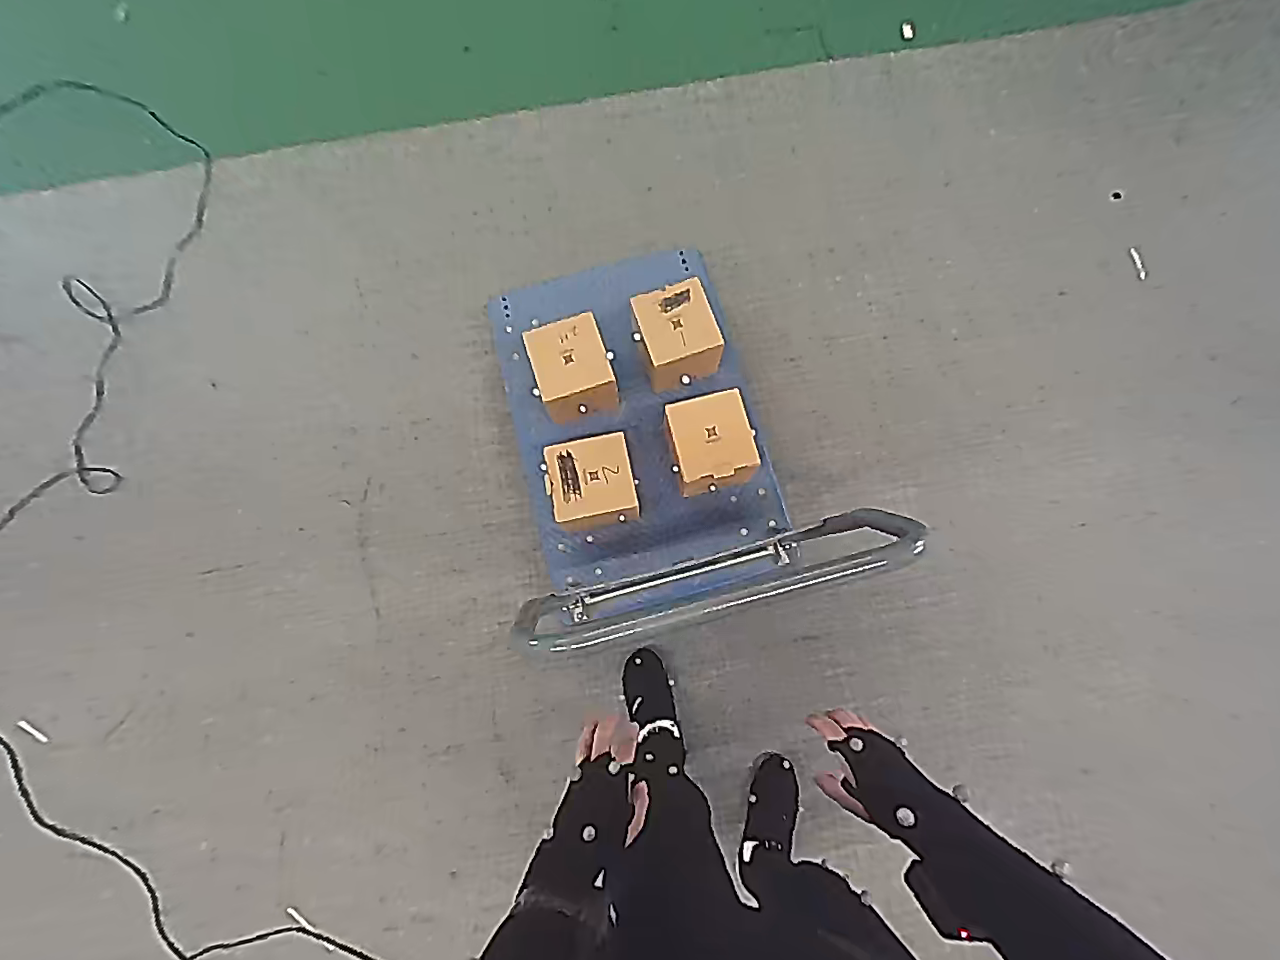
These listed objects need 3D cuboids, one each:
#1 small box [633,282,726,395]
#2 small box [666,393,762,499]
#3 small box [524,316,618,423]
[{"bbox_3d":[0.087,-0.326,1.272,0.168,0.176,0.179,-18,79,-2],"label":"small box"},{"bbox_3d":[0.156,-0.071,1.216,0.168,0.176,0.179,-14,78,-2],"label":"small box"},{"bbox_3d":[-0.153,-0.245,1.260,0.168,0.176,0.179,-18,78,-3],"label":"small box"}]
